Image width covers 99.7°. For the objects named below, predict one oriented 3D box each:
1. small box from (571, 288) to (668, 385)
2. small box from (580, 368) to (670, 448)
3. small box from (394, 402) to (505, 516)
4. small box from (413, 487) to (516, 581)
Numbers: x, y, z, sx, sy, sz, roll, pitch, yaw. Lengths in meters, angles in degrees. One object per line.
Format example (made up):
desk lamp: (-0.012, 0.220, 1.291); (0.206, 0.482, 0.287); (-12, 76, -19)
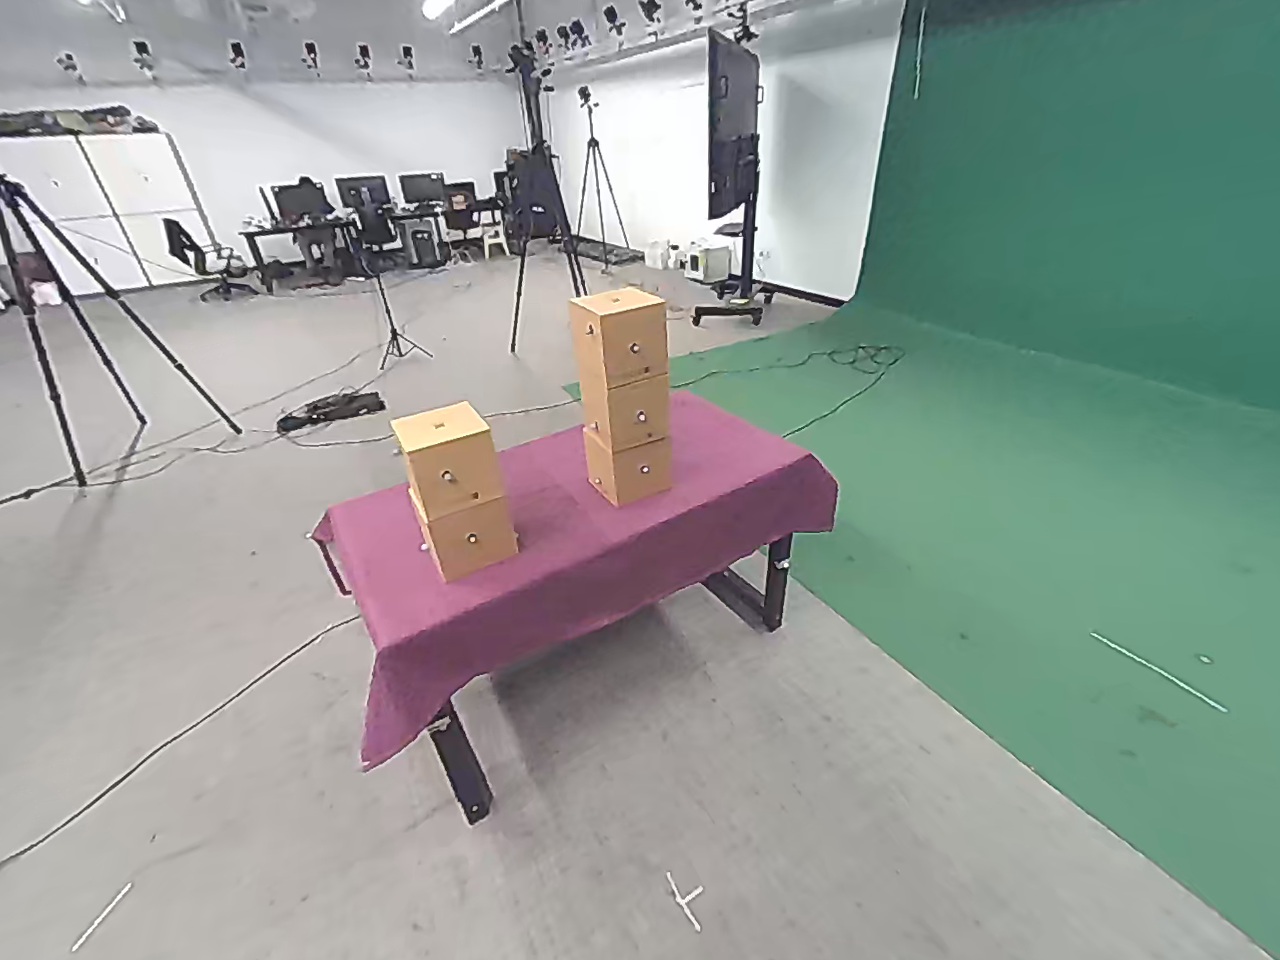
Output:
small box: (-0.045, -0.332, 1.259); (0.168, 0.176, 0.179); (-19, 35, -22)
small box: (-0.034, -0.194, 1.350); (0.168, 0.176, 0.179); (-18, 36, -21)
small box: (-0.402, -0.043, 1.150); (0.168, 0.176, 0.179); (-20, 35, -24)
small box: (-0.394, 0.097, 1.234); (0.179, 0.176, 0.168); (-21, 36, -25)
